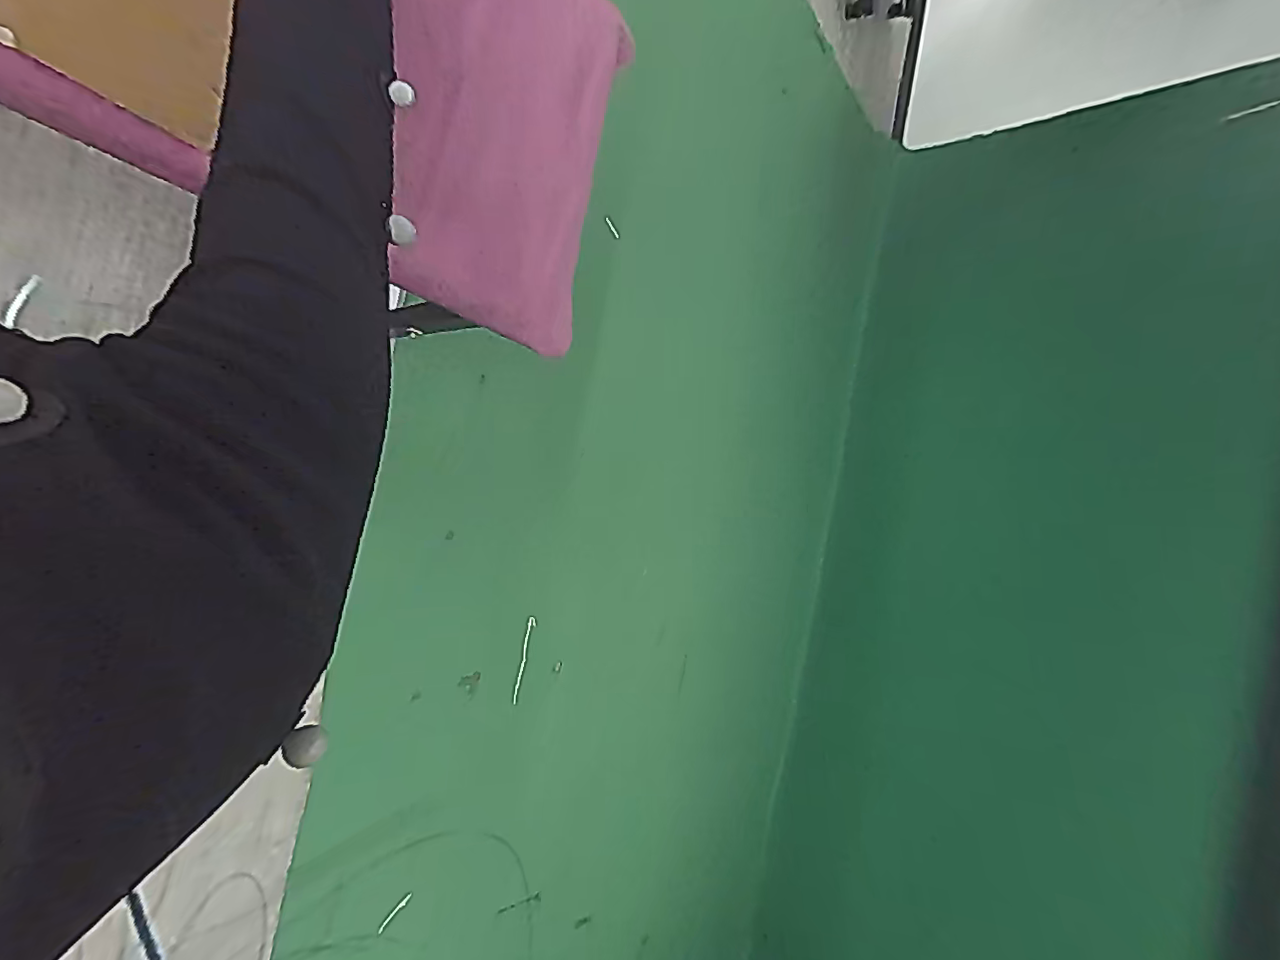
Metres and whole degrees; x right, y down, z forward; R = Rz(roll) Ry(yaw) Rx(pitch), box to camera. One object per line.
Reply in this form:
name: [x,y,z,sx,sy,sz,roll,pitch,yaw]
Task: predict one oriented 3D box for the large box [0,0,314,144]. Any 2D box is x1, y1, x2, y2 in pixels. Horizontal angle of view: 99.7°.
large box: [-0.427,-0.575,0.411,0.320,0.320,0.408,18,83,-48]
